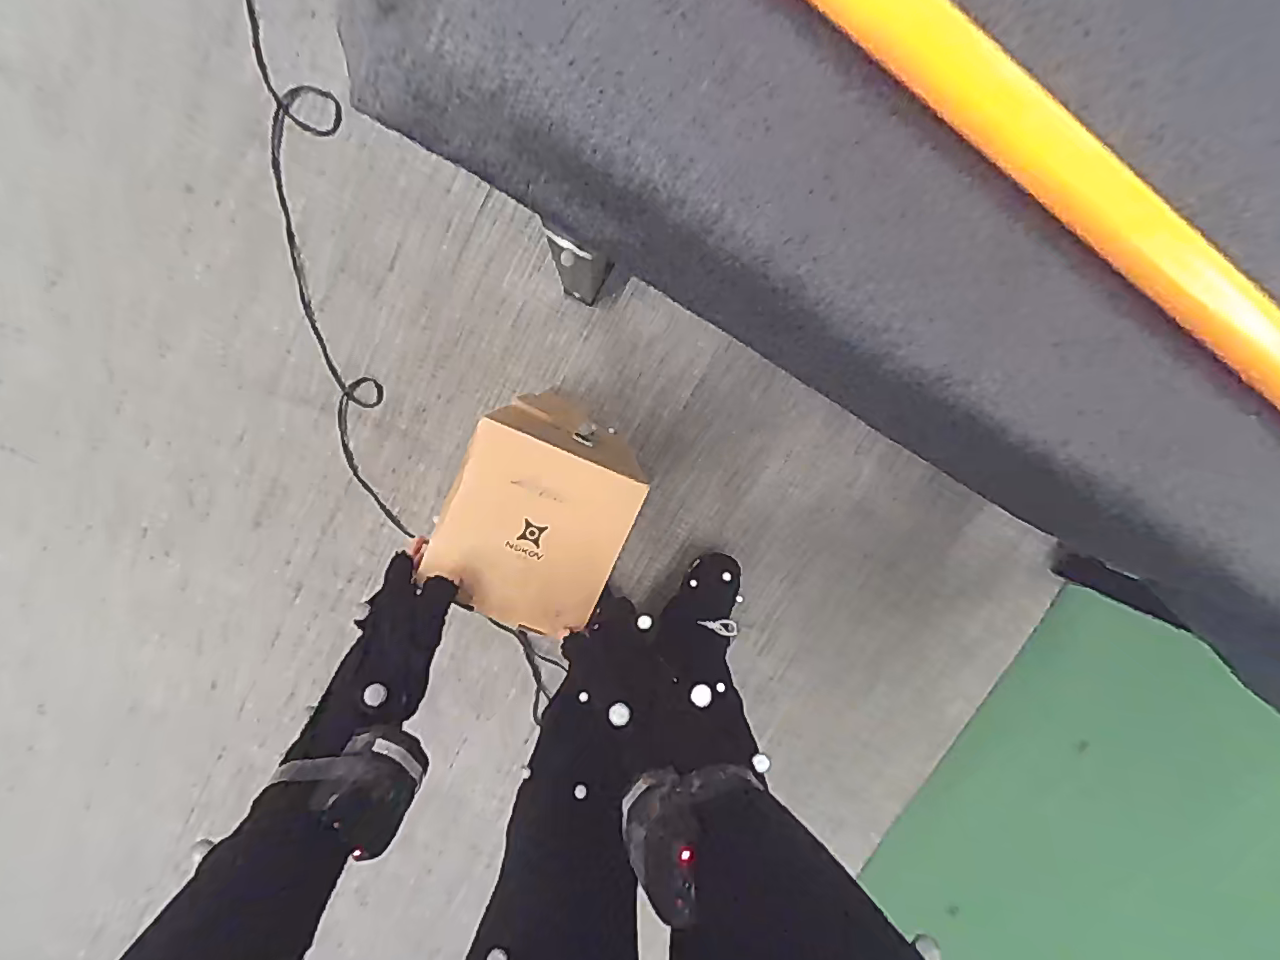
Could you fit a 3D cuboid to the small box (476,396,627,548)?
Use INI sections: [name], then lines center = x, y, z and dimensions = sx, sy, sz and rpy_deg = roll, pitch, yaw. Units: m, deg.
[small box]
center = -0.142, -0.024, 0.896
dimensions = 0.168, 0.176, 0.179
rpy_deg = 36, 97, -11
